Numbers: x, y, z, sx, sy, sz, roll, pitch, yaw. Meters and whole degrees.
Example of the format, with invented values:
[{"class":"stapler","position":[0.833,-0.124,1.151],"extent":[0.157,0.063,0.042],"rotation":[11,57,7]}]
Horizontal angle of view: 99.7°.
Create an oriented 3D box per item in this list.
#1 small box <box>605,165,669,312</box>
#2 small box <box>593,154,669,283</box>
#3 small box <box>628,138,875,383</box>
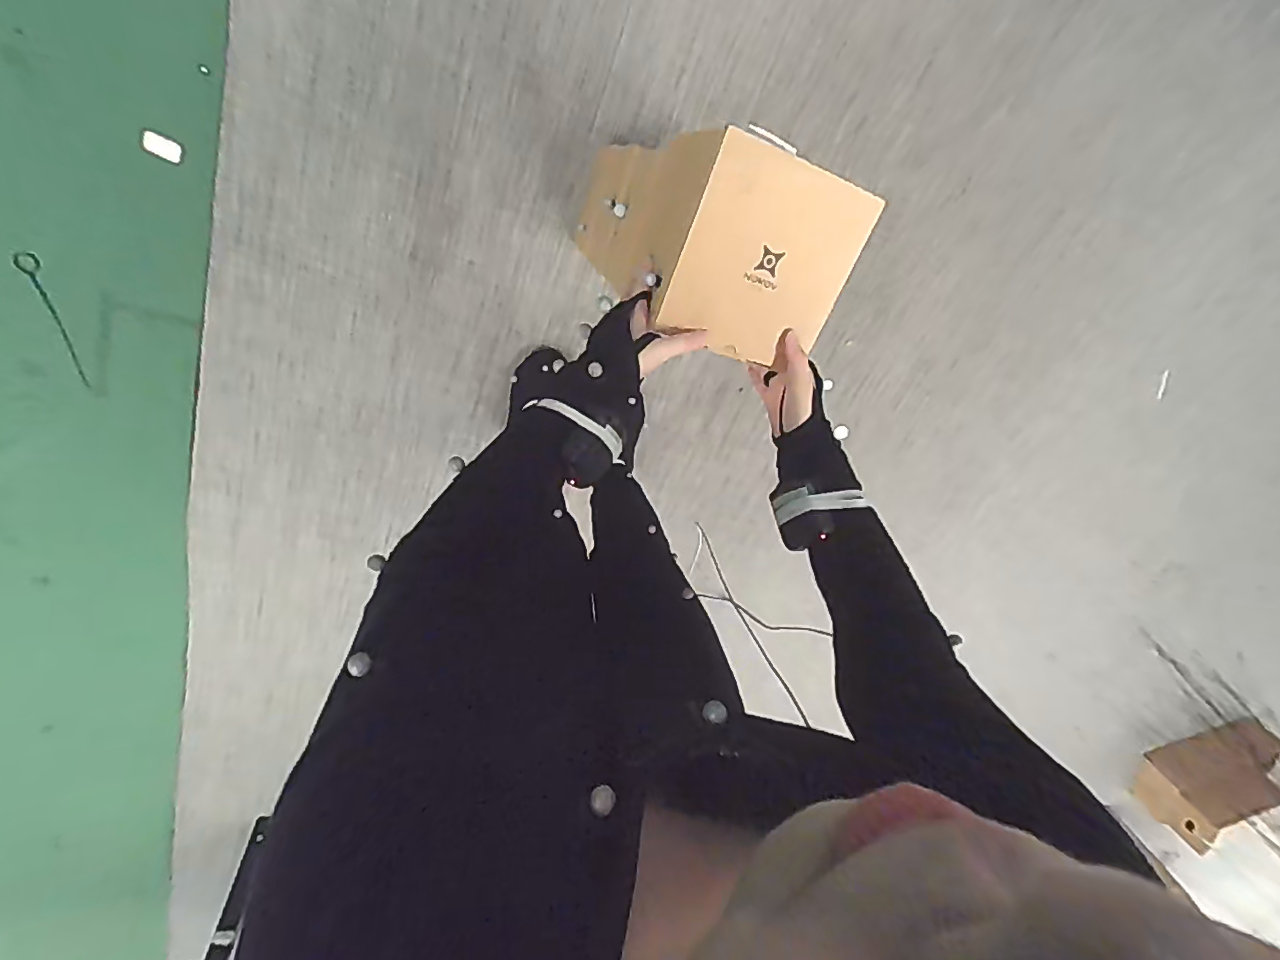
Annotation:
[{"class":"small box","position":[0.067,-0.300,0.715],"extent":[0.179,0.176,0.168],"rotation":[14,116,-19]},{"class":"small box","position":[0.030,-0.387,0.850],"extent":[0.168,0.176,0.179],"rotation":[12,117,-18]},{"class":"small box","position":[0.098,-0.230,0.569],"extent":[0.168,0.176,0.179],"rotation":[13,117,-19]}]
